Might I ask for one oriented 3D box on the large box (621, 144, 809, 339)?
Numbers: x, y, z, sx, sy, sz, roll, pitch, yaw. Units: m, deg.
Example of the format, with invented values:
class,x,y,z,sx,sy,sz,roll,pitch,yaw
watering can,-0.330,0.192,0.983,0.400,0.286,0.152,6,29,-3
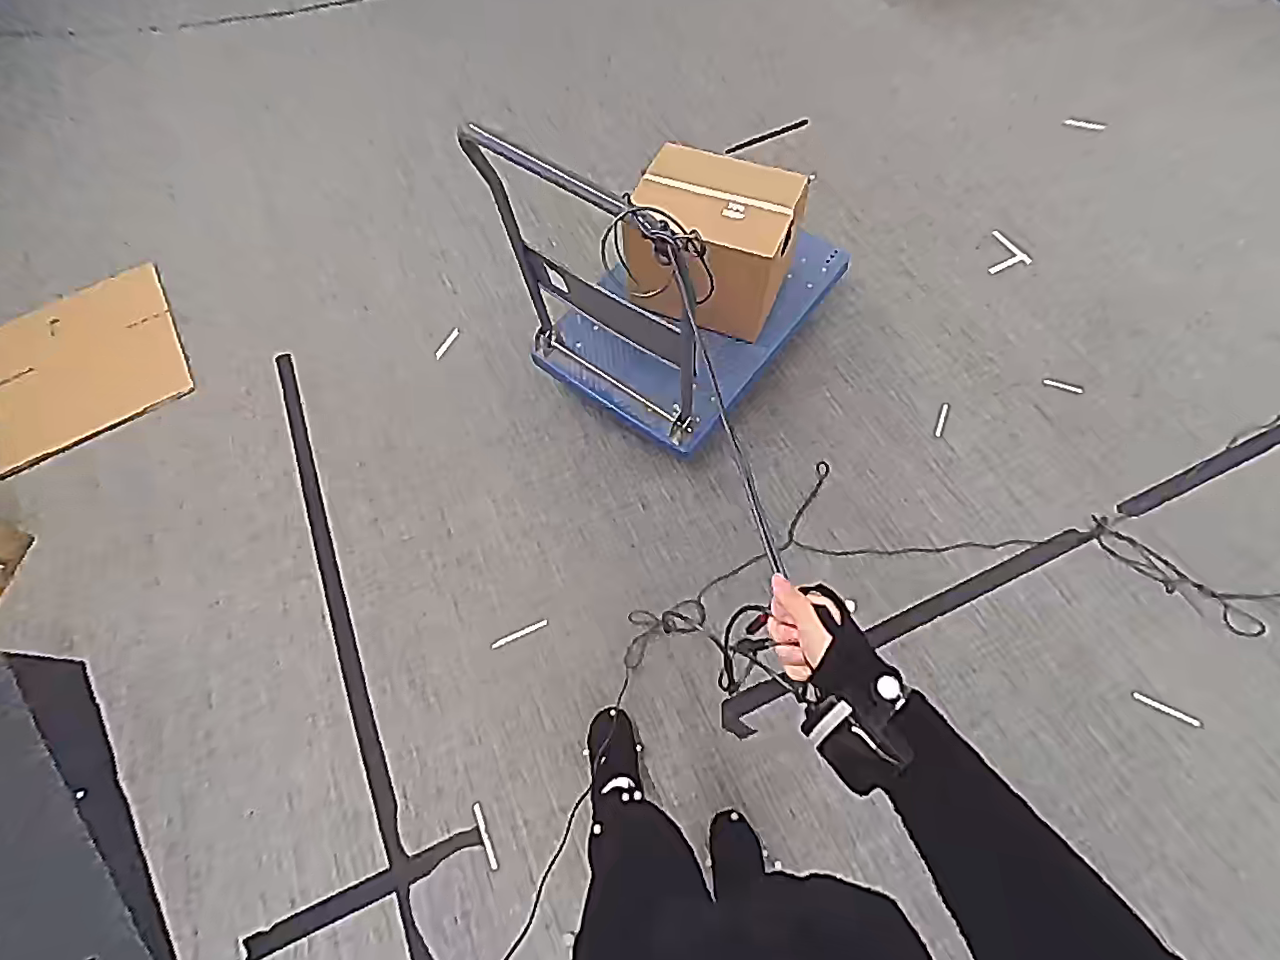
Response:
class,x,y,z,sx,sy,sz,roll,pitch,yaw
large box,0.194,-0.649,1.491,0.408,0.320,0.320,21,69,11
